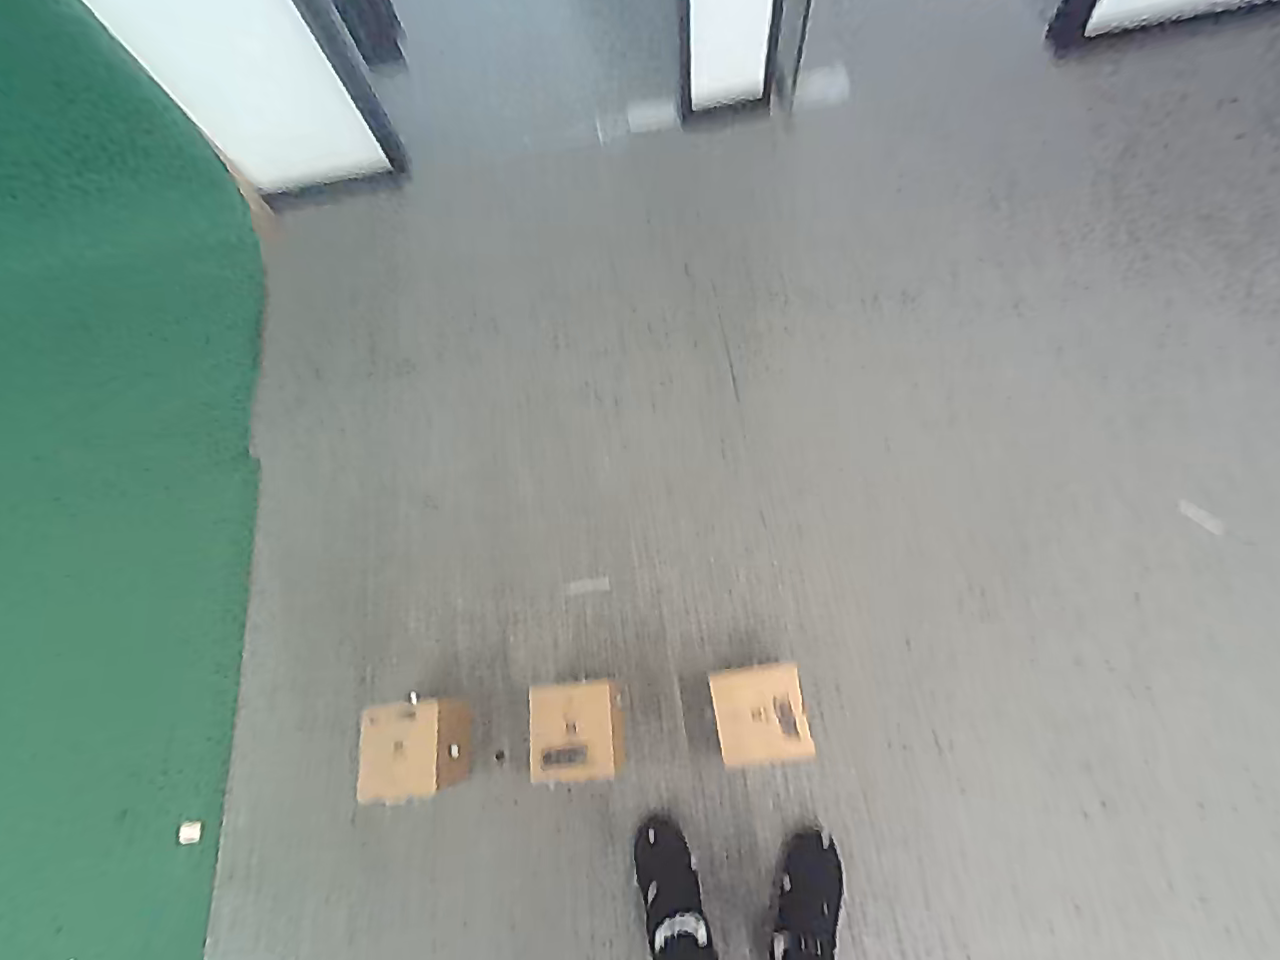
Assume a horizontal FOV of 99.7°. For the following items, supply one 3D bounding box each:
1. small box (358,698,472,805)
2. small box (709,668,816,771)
[{"bbox_3d":[-0.470,0.571,1.154,0.168,0.176,0.179,-7,70,4],"label":"small box"},{"bbox_3d":[0.240,0.480,1.105,0.179,0.176,0.168,-10,69,4],"label":"small box"}]
